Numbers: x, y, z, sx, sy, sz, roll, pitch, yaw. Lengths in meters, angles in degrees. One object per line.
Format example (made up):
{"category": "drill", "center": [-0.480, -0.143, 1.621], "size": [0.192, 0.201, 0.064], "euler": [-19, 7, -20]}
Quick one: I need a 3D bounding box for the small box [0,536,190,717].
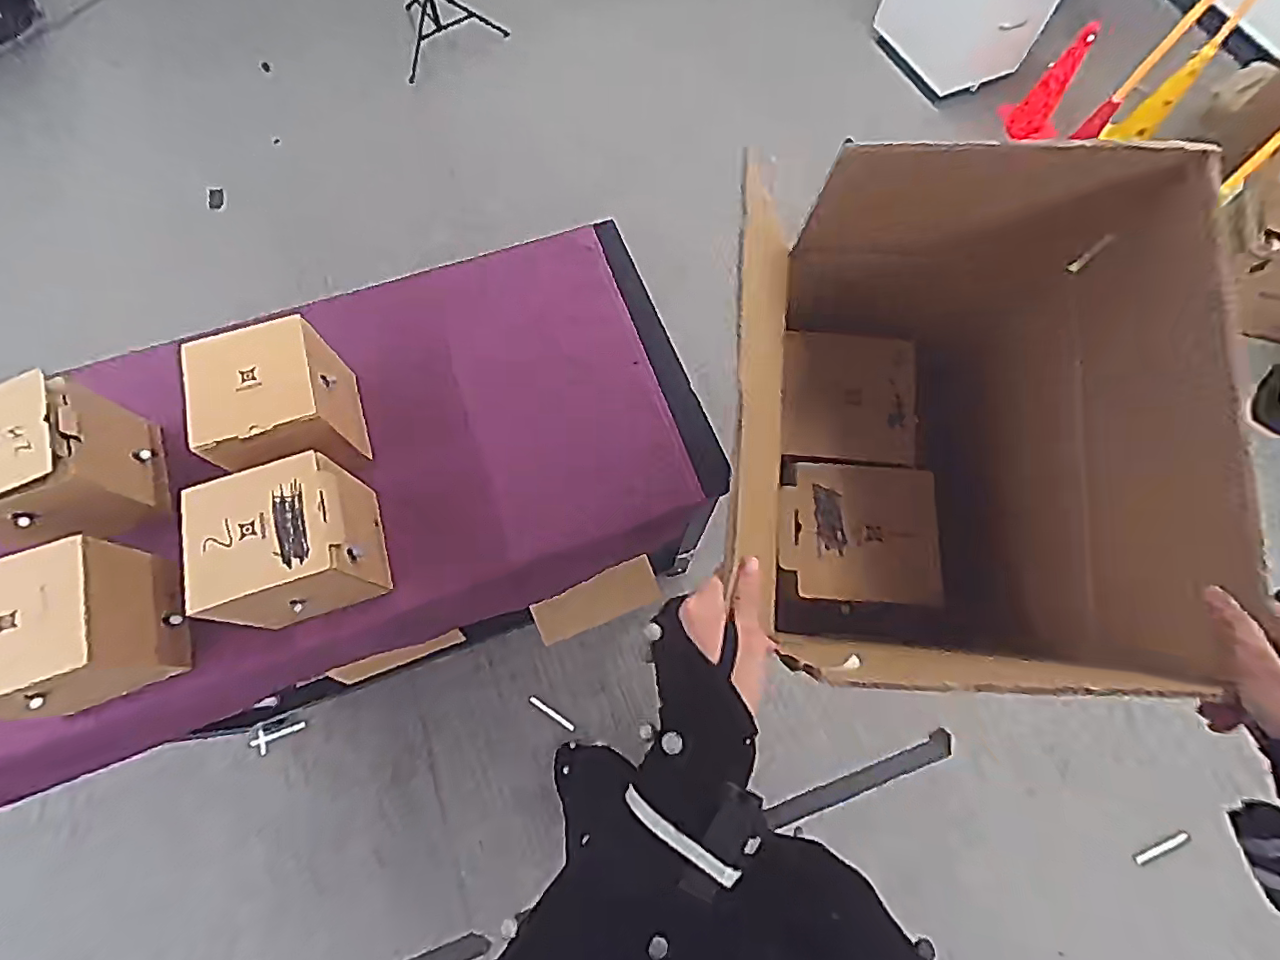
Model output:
{"category": "small box", "center": [-0.734, 0.195, 0.693], "size": [0.179, 0.176, 0.168], "euler": [-19, 71, -9]}

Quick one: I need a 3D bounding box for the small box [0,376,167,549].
{"category": "small box", "center": [-0.835, -0.013, 0.768], "size": [0.179, 0.176, 0.168], "euler": [-22, 72, -10]}
